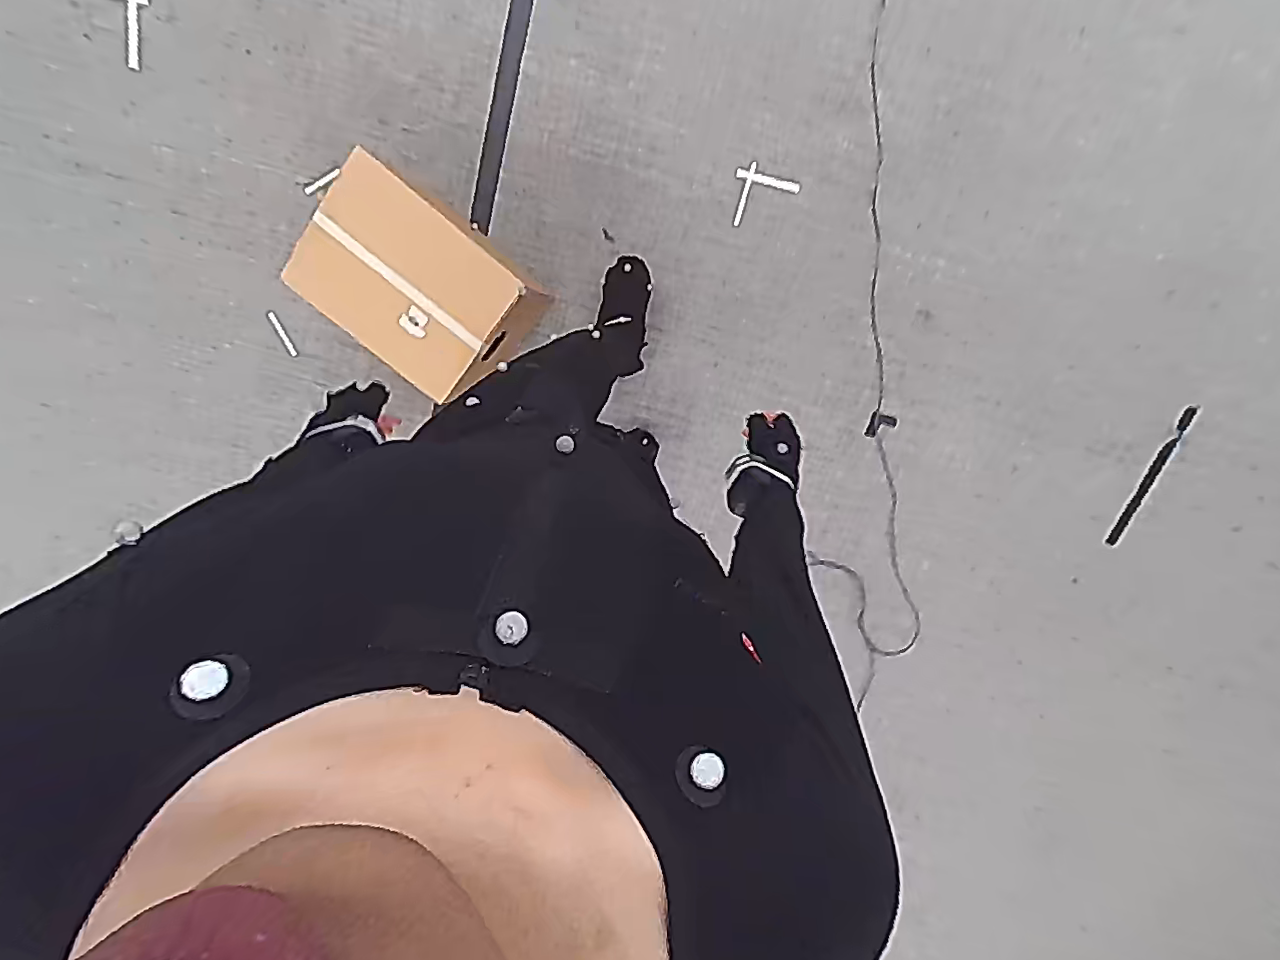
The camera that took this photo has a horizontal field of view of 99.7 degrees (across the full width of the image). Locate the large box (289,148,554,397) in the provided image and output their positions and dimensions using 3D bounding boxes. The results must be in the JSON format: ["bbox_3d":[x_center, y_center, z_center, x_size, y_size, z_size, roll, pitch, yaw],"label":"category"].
[{"bbox_3d":[-0.466,-0.447,1.237,0.408,0.320,0.320,39,104,-9],"label":"large box"}]
